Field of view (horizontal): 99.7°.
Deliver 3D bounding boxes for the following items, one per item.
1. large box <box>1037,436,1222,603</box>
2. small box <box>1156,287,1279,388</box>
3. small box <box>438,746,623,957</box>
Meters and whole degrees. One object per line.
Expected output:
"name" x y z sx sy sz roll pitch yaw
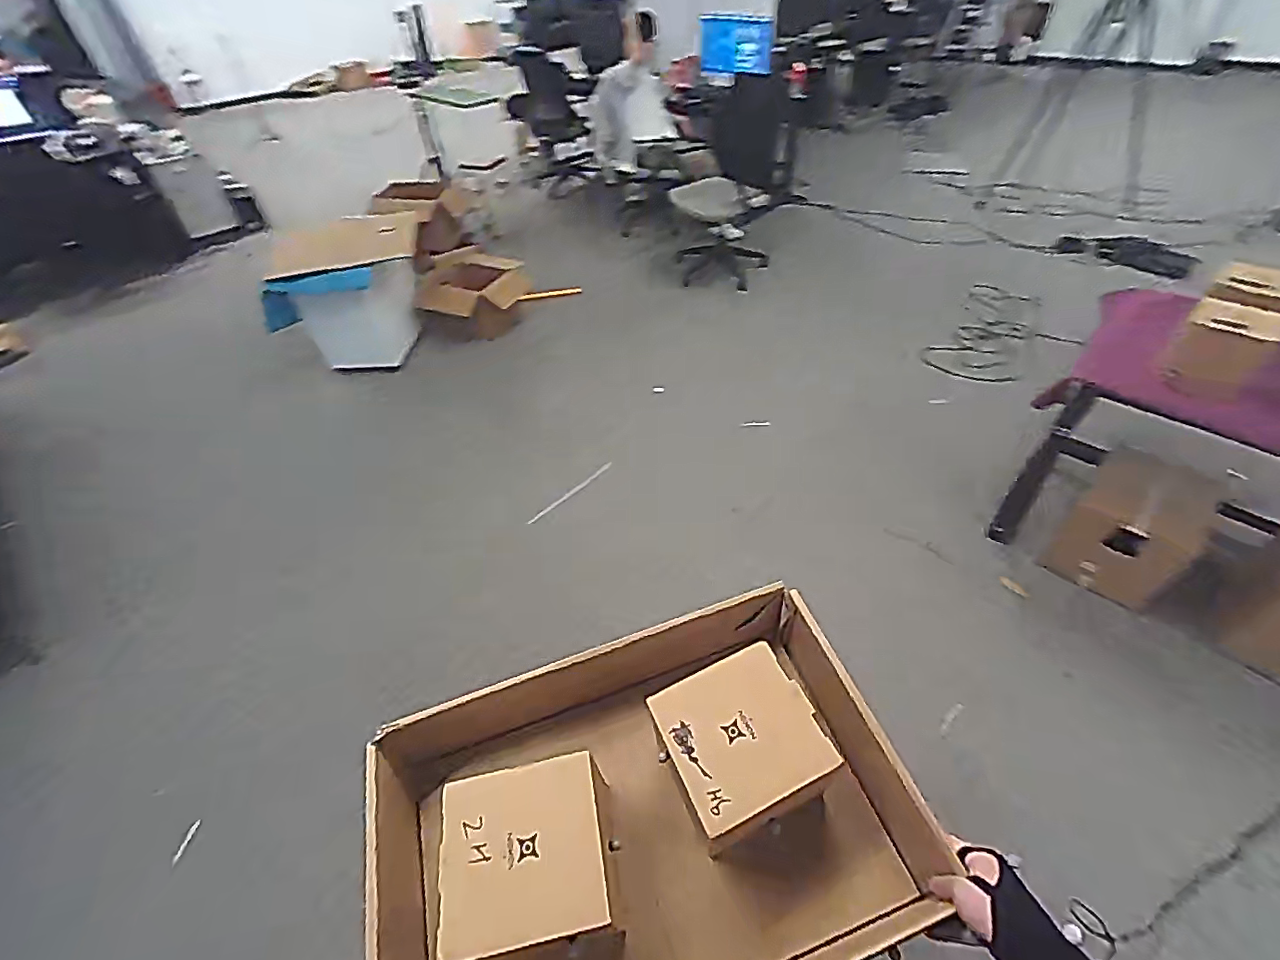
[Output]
"large box" 1.627 0.127 1.816 0.320 0.320 0.408 34 56 31
"small box" 1.473 -0.361 1.375 0.168 0.176 0.179 33 55 30
"small box" -0.117 0.437 0.638 0.179 0.176 0.168 -10 48 -3
